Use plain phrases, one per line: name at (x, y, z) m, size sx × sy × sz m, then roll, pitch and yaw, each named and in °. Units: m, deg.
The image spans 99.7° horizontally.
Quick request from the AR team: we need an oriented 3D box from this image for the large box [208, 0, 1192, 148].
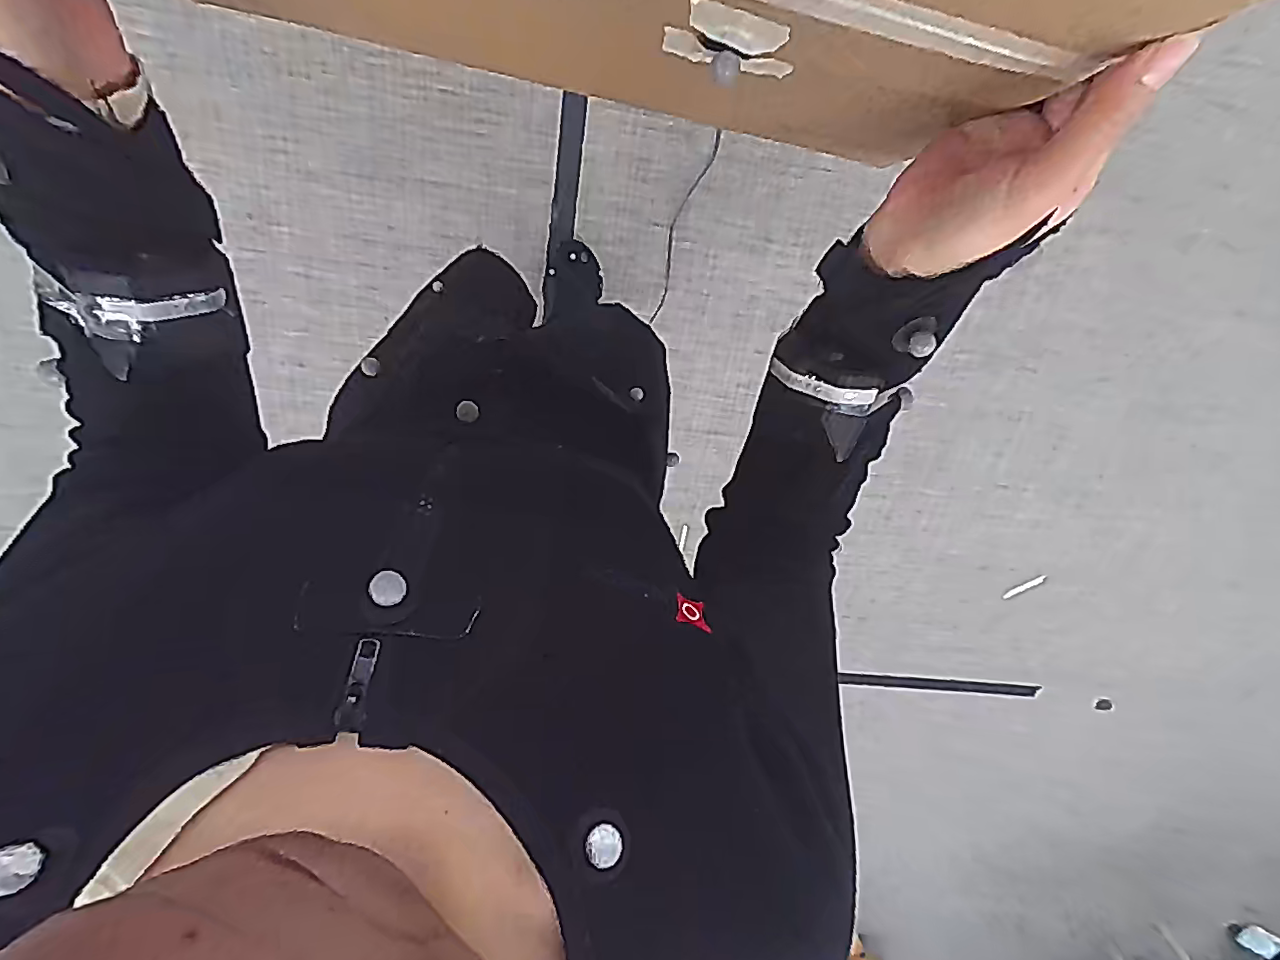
large box at (0.001, -0.333, 0.134) m, size 0.408 × 0.320 × 0.320 m, roll 6°, pitch 108°, yaw -9°
